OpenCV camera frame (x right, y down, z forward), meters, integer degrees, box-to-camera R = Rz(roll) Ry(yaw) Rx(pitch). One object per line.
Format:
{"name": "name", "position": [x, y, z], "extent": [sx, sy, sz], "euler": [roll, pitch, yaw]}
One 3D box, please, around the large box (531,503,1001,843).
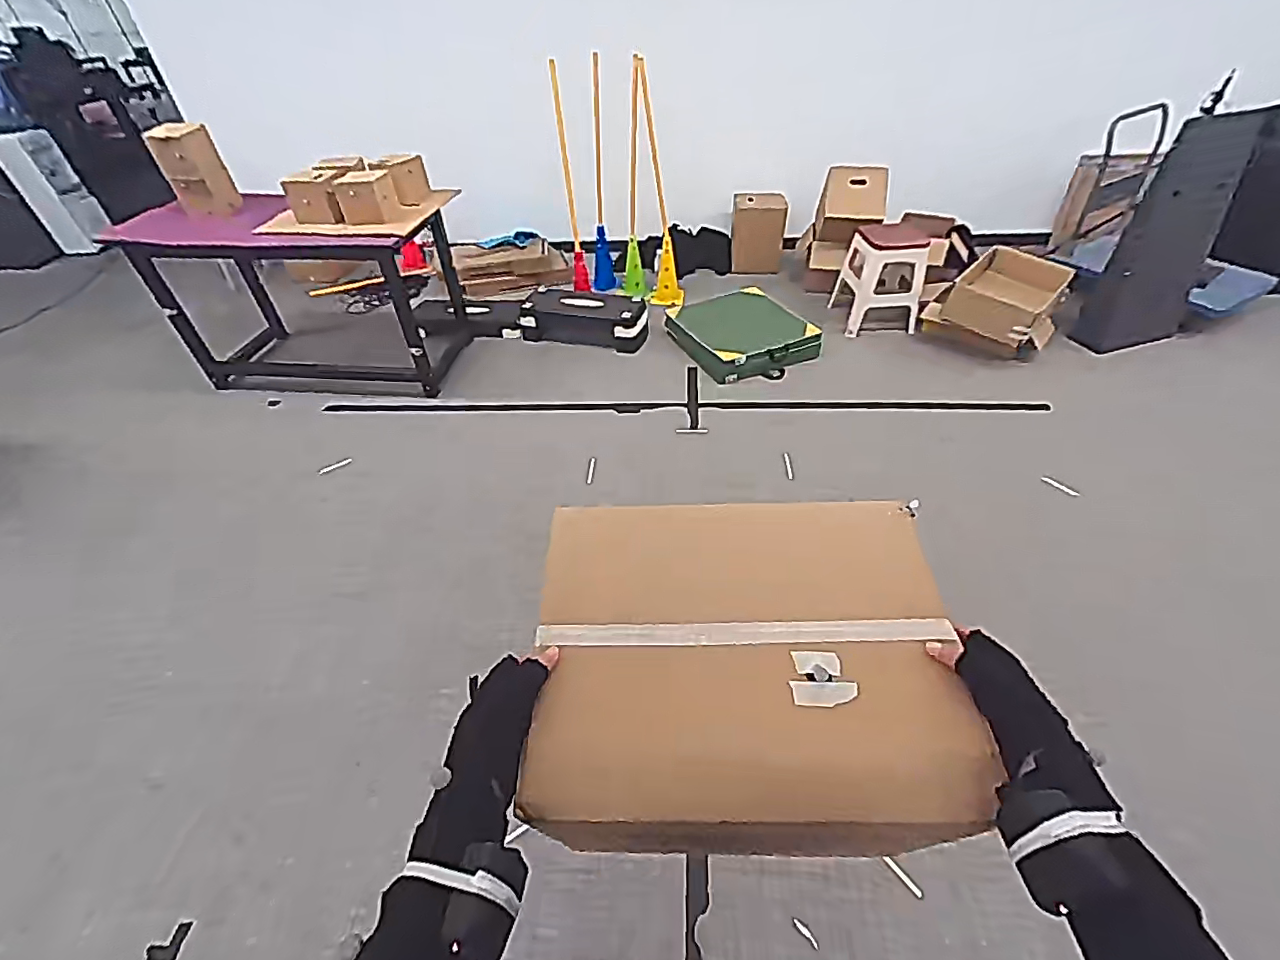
{"name": "large box", "position": [0.109, 0.244, 0.661], "extent": [0.408, 0.320, 0.320], "euler": [-1, 53, 3]}
